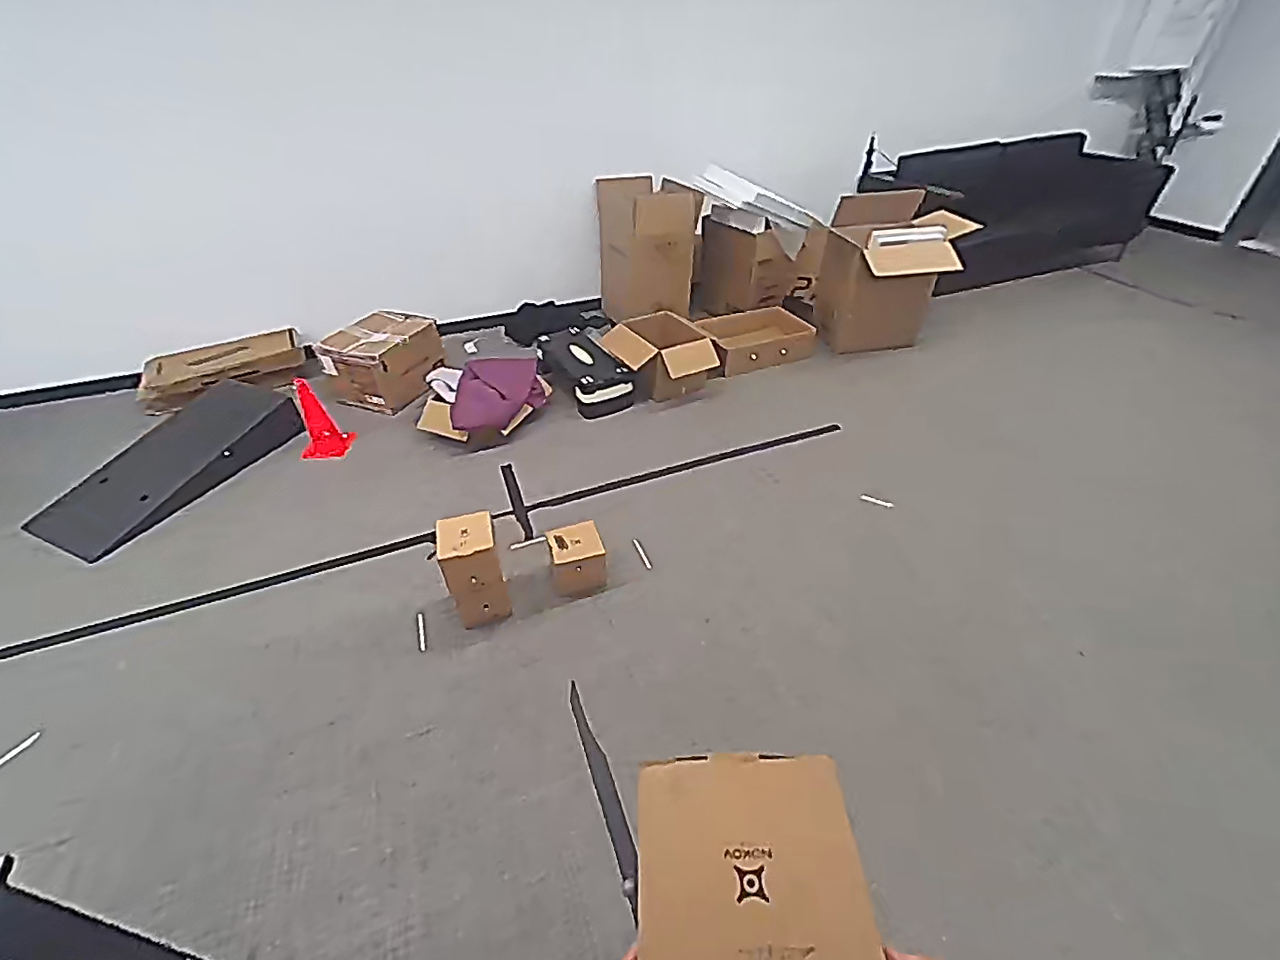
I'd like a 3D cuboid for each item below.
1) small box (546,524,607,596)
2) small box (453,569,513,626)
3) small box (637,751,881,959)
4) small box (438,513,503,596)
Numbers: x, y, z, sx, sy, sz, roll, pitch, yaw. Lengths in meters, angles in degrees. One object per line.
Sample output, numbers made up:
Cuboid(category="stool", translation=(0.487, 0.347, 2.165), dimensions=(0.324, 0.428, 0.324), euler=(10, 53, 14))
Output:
Cuboid(category="small box", translation=(-0.222, 0.285, 1.908), dimensions=(0.179, 0.176, 0.168), euler=(-12, 41, -15))
Cuboid(category="small box", translation=(-0.533, 0.366, 1.812), dimensions=(0.168, 0.176, 0.179), euler=(-16, 42, -17))
Cuboid(category="small box", translation=(0.082, 0.353, 0.450), dimensions=(0.168, 0.176, 0.179), euler=(-2, 38, 2))
Cuboid(category="small box", translation=(-0.535, 0.236, 1.710), dimensions=(0.168, 0.176, 0.179), euler=(-12, 41, -12))
